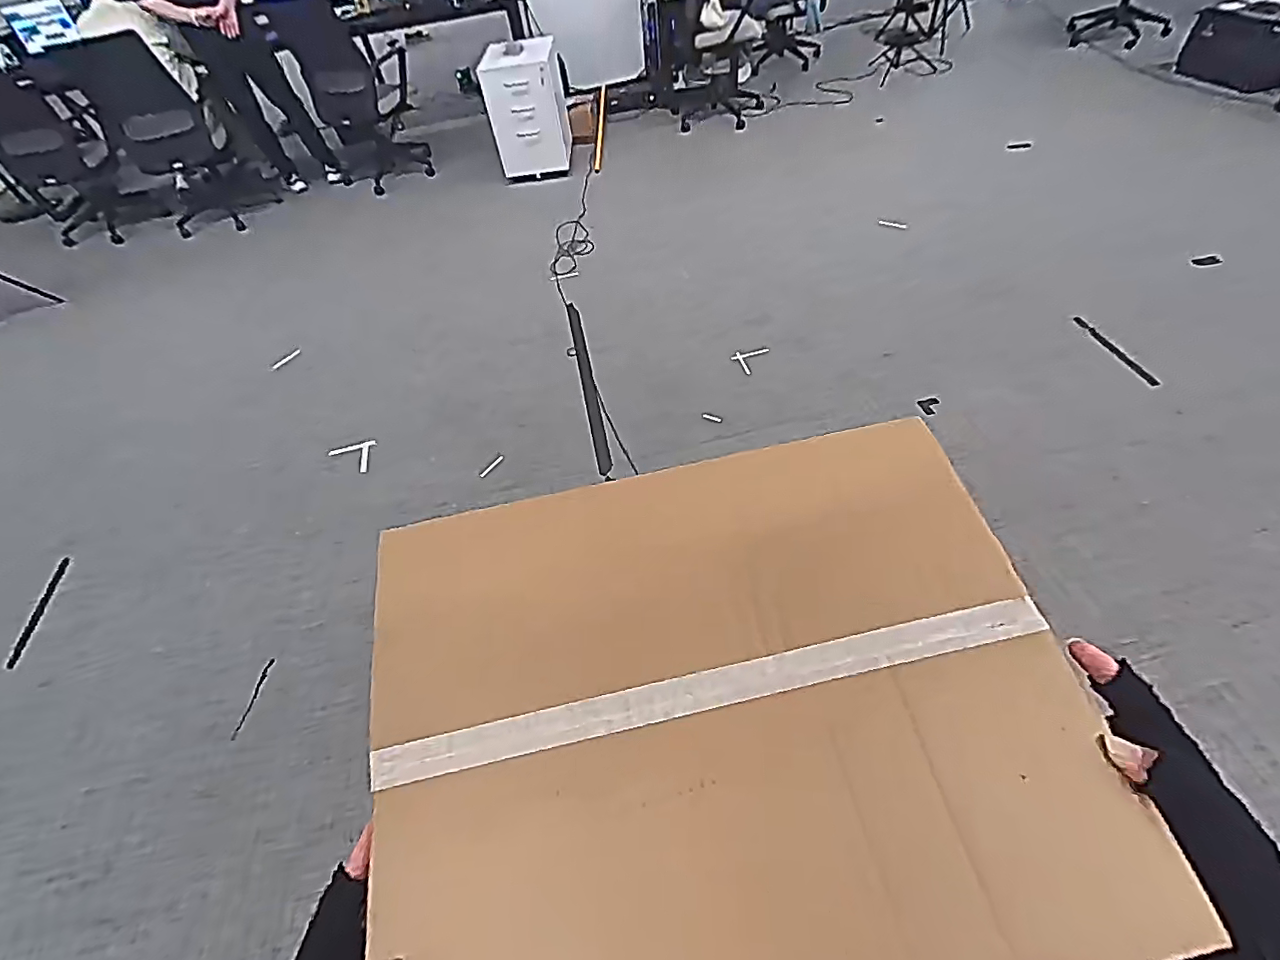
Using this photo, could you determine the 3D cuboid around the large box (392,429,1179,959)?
[{"bbox_3d":[0.056,0.207,0.461,0.408,0.320,0.320,-13,60,-2],"label":"large box"}]
